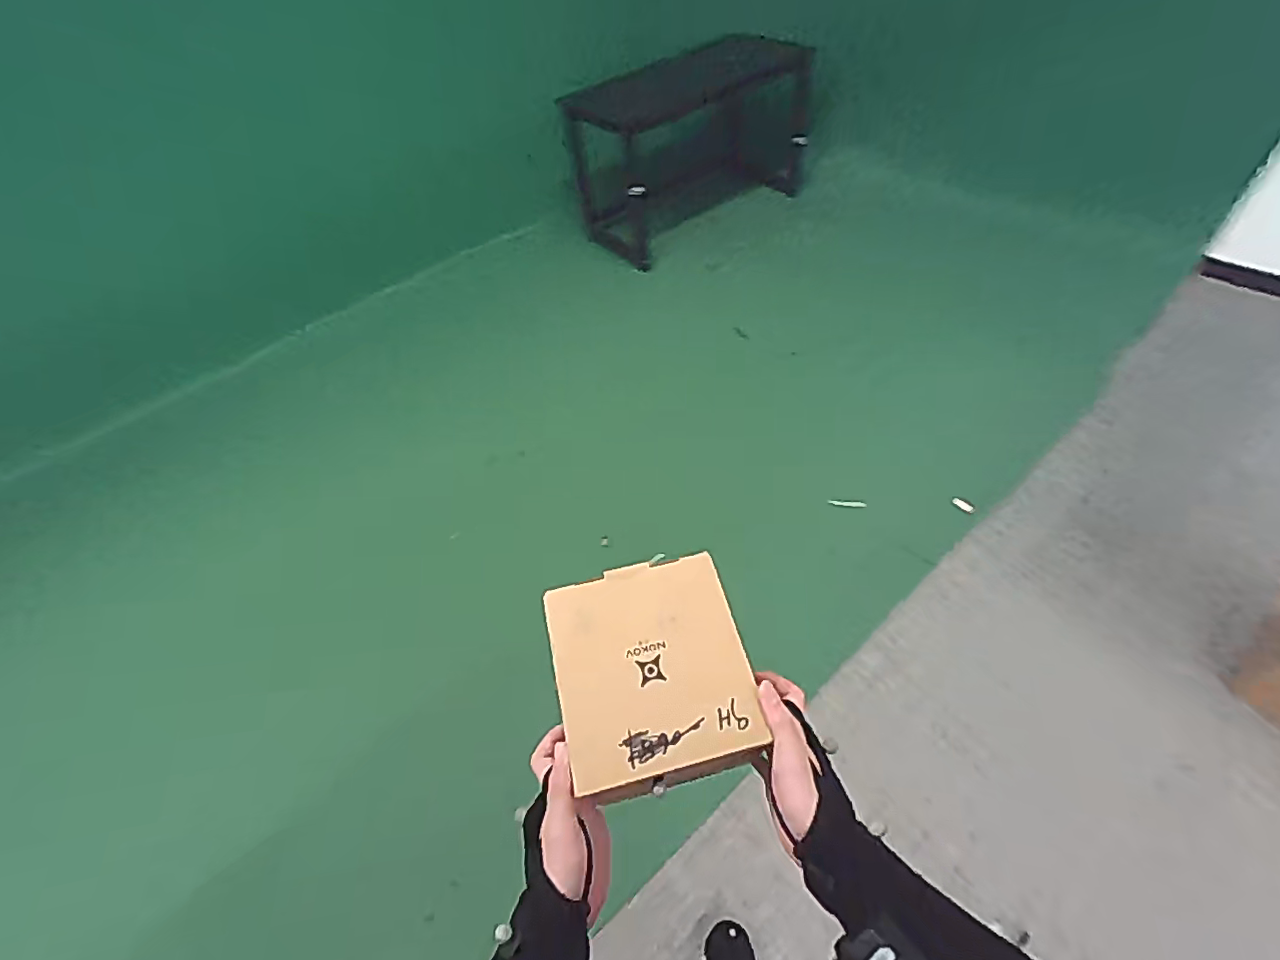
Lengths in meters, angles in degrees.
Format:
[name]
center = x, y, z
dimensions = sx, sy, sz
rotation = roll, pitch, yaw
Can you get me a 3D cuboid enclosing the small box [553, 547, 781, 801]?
[small box]
center = 0.018, 0.193, 0.528
dimensions = 0.168, 0.176, 0.179
rotation = -13, 57, -5
